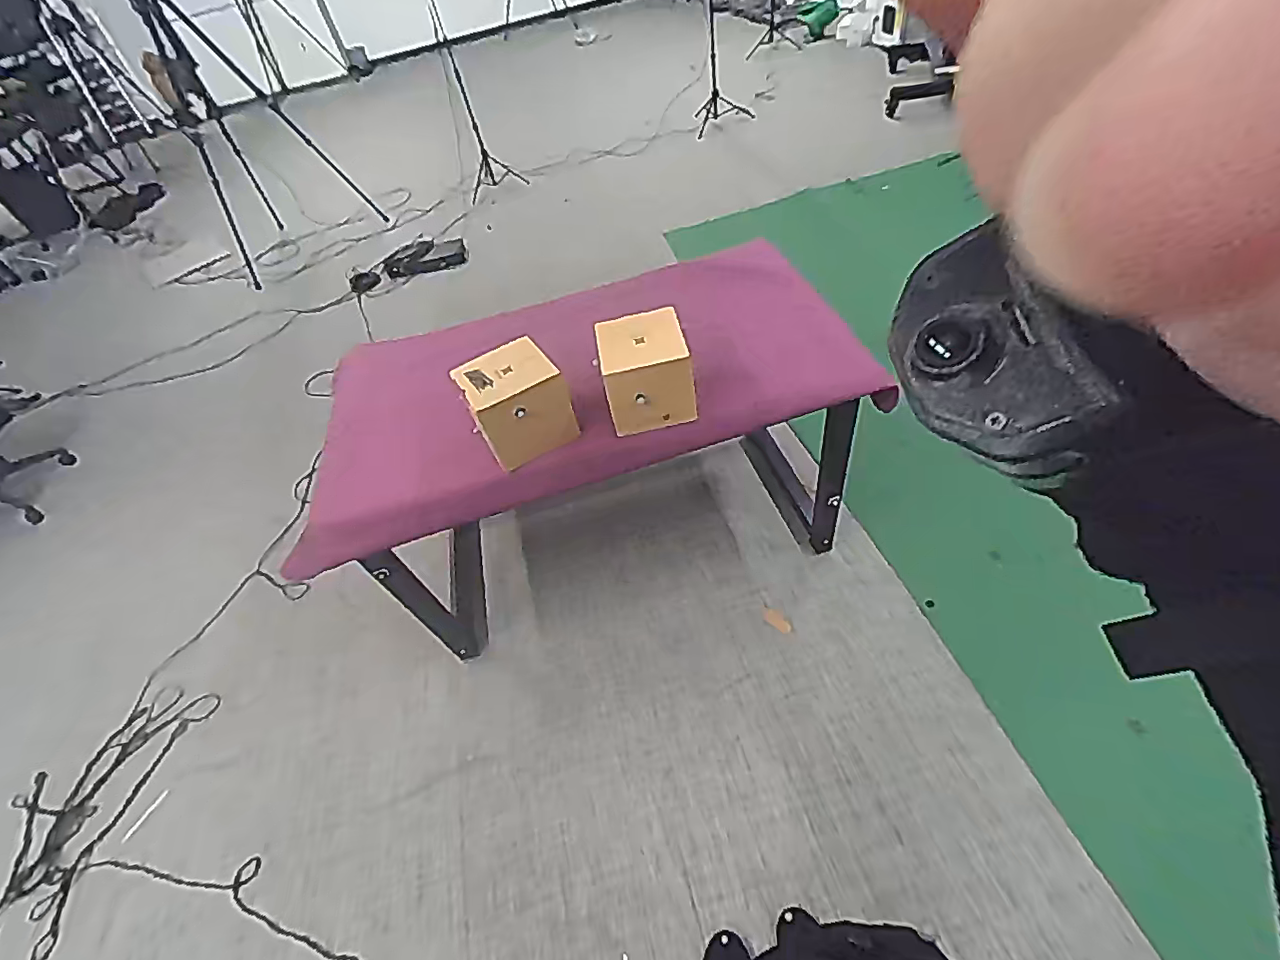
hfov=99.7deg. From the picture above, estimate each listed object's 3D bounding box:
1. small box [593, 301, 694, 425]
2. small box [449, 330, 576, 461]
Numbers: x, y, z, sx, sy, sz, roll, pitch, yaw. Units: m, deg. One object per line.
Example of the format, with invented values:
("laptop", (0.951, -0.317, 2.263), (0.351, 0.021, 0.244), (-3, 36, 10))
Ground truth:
("small box", (0.009, -0.229, 1.097), (0.168, 0.176, 0.179), (-12, 49, 2))
("small box", (-0.253, -0.168, 1.095), (0.179, 0.176, 0.168), (-29, 50, -14))
